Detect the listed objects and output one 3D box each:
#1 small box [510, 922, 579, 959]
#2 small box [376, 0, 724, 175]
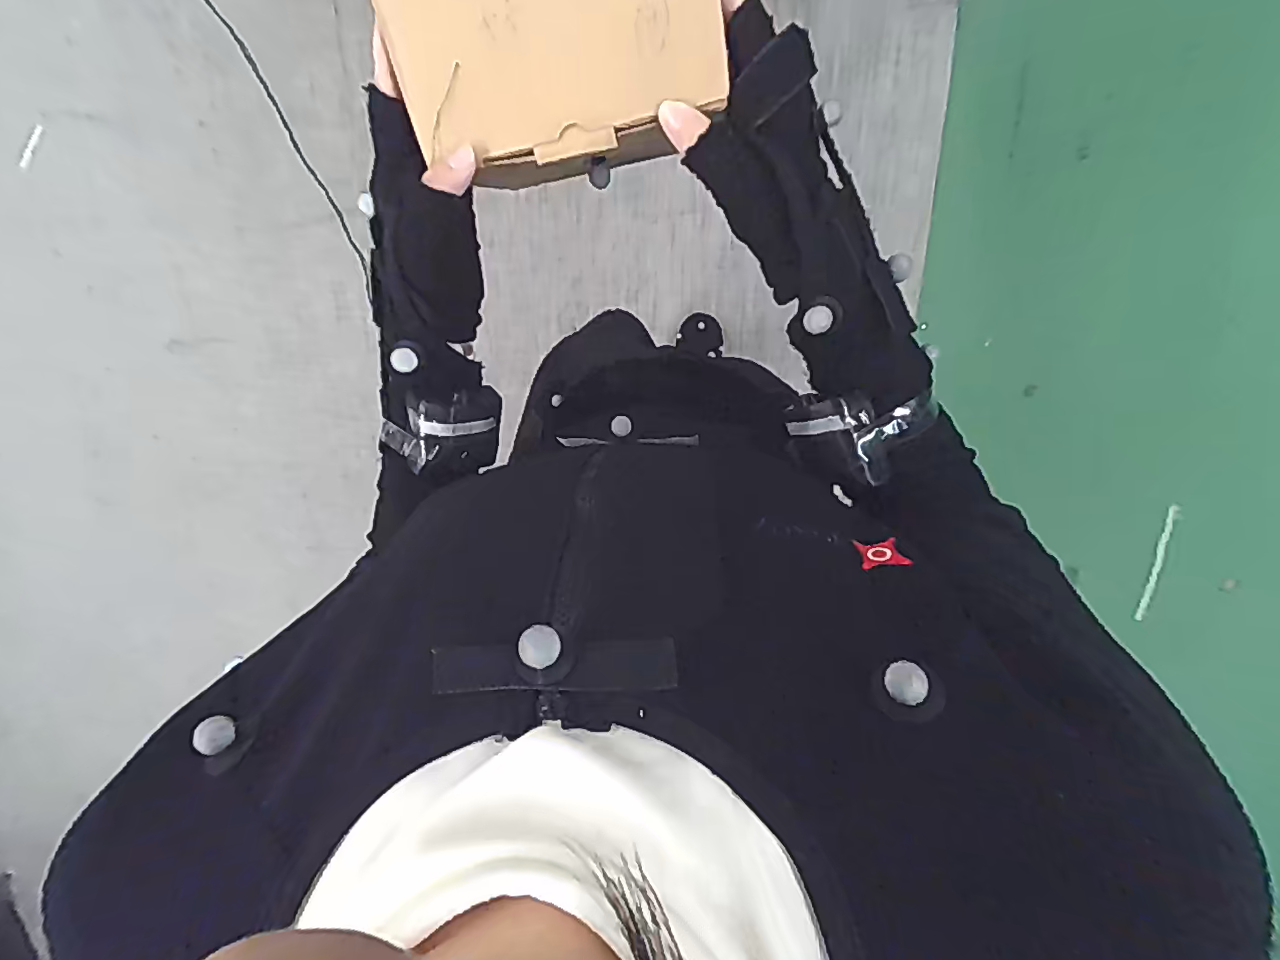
[{"bbox_3d":[-0.271,1.382,1.507,0.179,0.176,0.168,-2,105,8],"label":"small box"},{"bbox_3d":[-0.046,-0.292,0.316,0.168,0.176,0.179,-9,116,8],"label":"small box"}]
